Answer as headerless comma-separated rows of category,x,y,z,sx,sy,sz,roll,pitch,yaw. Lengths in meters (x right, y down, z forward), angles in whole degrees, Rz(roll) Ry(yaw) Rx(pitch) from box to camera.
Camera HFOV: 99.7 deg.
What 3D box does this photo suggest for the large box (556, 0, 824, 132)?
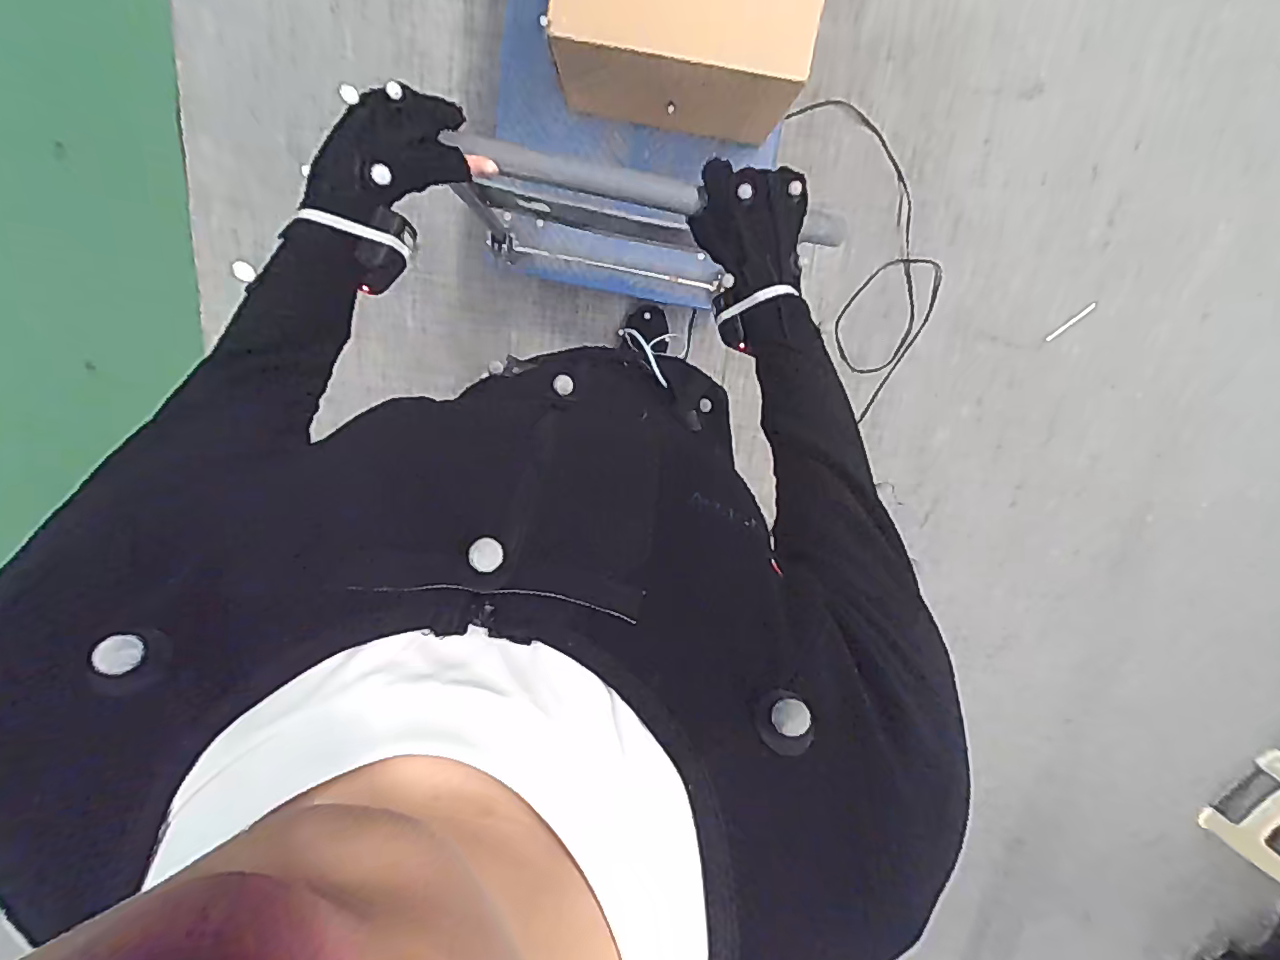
large box,0.090,-0.839,0.928,0.408,0.320,0.320,8,106,-2
